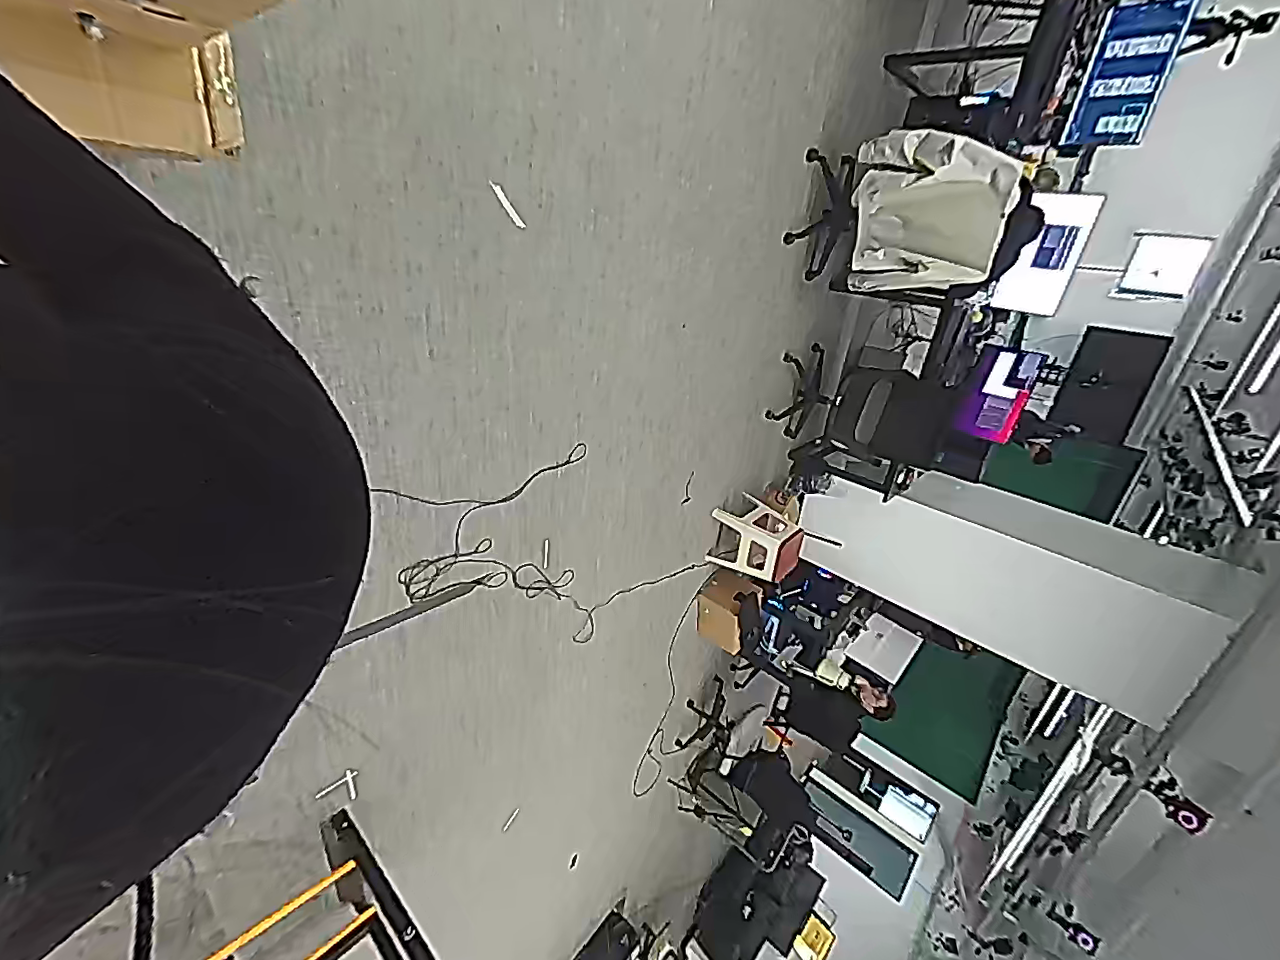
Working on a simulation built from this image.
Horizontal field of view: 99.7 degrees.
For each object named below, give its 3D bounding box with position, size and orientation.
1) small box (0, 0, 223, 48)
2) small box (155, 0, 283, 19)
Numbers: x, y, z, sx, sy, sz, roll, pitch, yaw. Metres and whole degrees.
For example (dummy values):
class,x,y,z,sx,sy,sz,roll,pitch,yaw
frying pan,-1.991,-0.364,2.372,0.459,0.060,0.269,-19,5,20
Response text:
class,x,y,z,sx,sy,sz,roll,pitch,yaw
small box,-0.487,-0.502,0.454,0.168,0.176,0.179,-18,125,-44
small box,-0.363,-0.448,0.360,0.168,0.176,0.179,-17,124,-45
